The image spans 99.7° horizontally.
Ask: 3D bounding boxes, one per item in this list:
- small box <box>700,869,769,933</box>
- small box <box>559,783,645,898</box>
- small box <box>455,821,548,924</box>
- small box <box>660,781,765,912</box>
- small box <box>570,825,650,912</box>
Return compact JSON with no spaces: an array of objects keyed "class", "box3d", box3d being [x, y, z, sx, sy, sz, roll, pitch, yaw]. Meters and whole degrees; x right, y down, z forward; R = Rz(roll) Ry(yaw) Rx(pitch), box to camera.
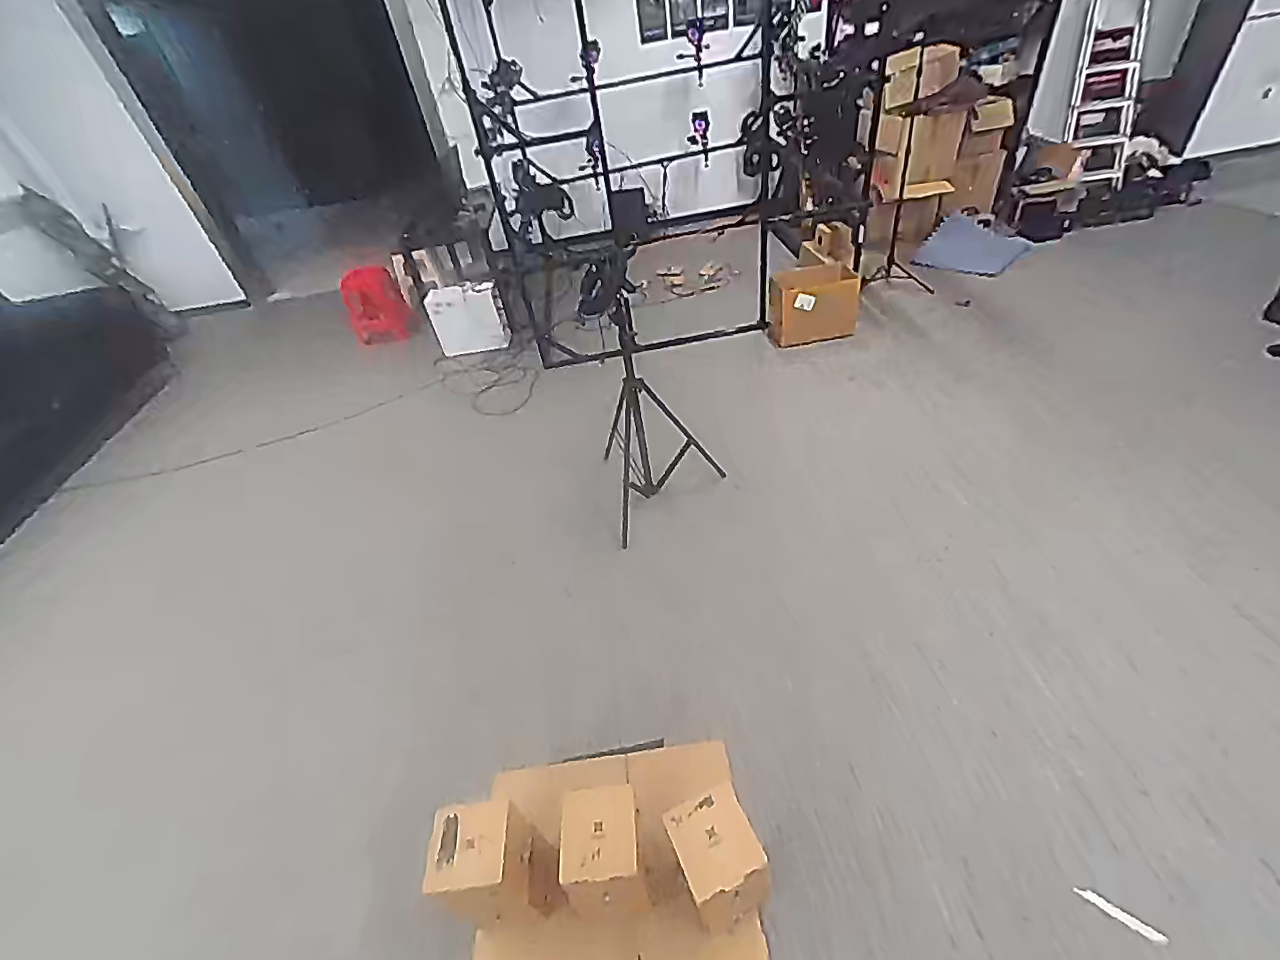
[{"class":"small box","box3d":[0.191,0.930,1.294,0.168,0.176,0.179,-23,42,-13]},{"class":"small box","box3d":[-0.082,0.817,1.226,0.168,0.176,0.179,-8,41,3]},{"class":"small box","box3d":[-0.333,0.978,1.345,0.179,0.176,0.168,-10,41,2]},{"class":"small box","box3d":[0.162,0.810,1.188,0.168,0.176,0.179,-22,43,-12]},{"class":"small box","box3d":[-0.070,0.943,1.333,0.179,0.176,0.168,-8,41,2]}]
